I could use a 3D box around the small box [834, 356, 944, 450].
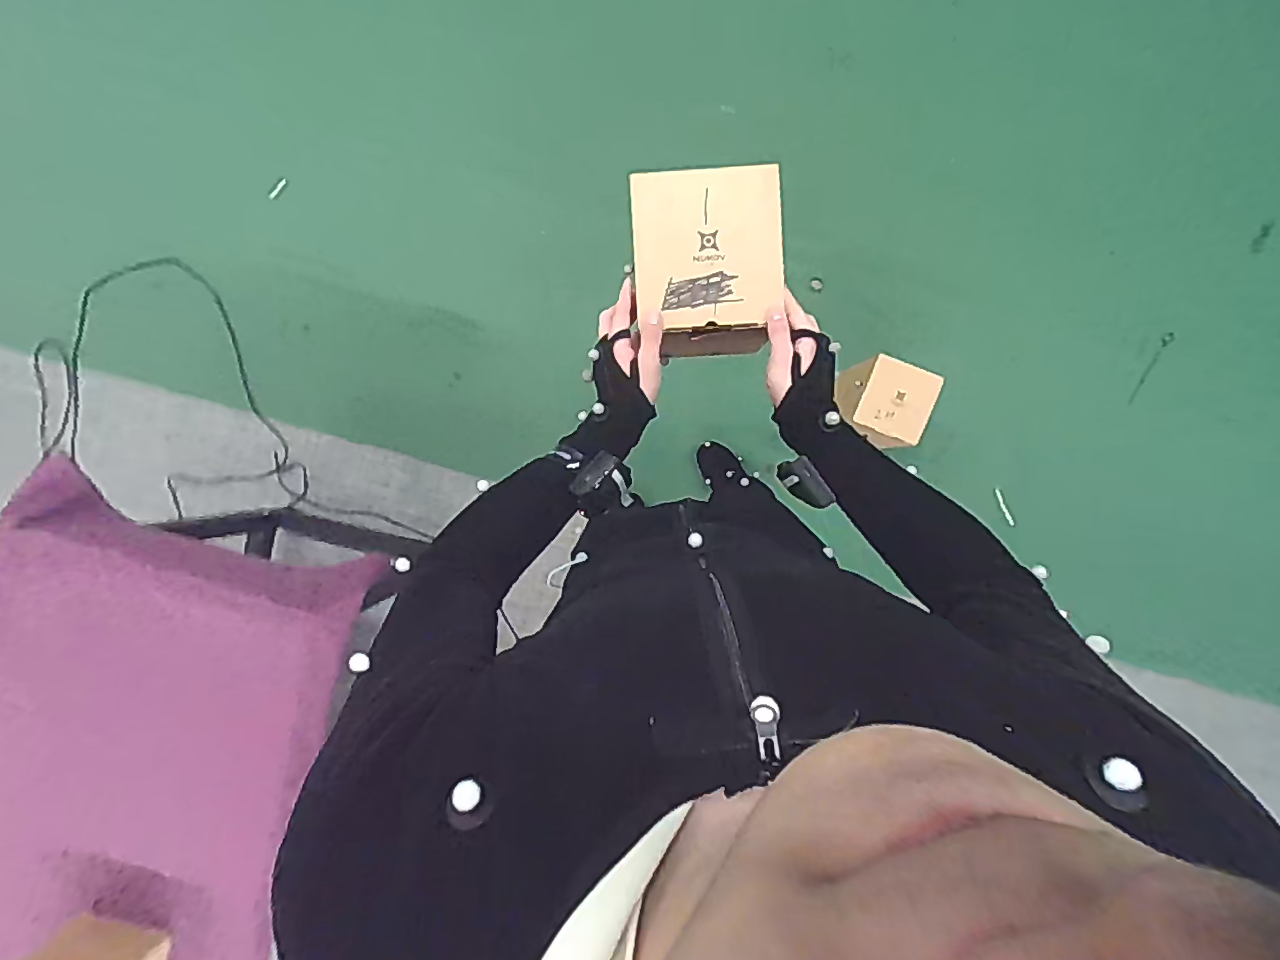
[{"bbox_3d":[0.612,-0.186,1.357,0.168,0.176,0.179,23,93,1],"label":"small box"}]

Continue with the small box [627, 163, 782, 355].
[{"bbox_3d":[0.074,-0.256,0.672,0.168,0.176,0.179,-4,91,1],"label":"small box"}]

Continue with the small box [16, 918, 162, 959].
[{"bbox_3d":[-0.967,0.886,0.901,0.179,0.176,0.168,13,92,1],"label":"small box"}]
